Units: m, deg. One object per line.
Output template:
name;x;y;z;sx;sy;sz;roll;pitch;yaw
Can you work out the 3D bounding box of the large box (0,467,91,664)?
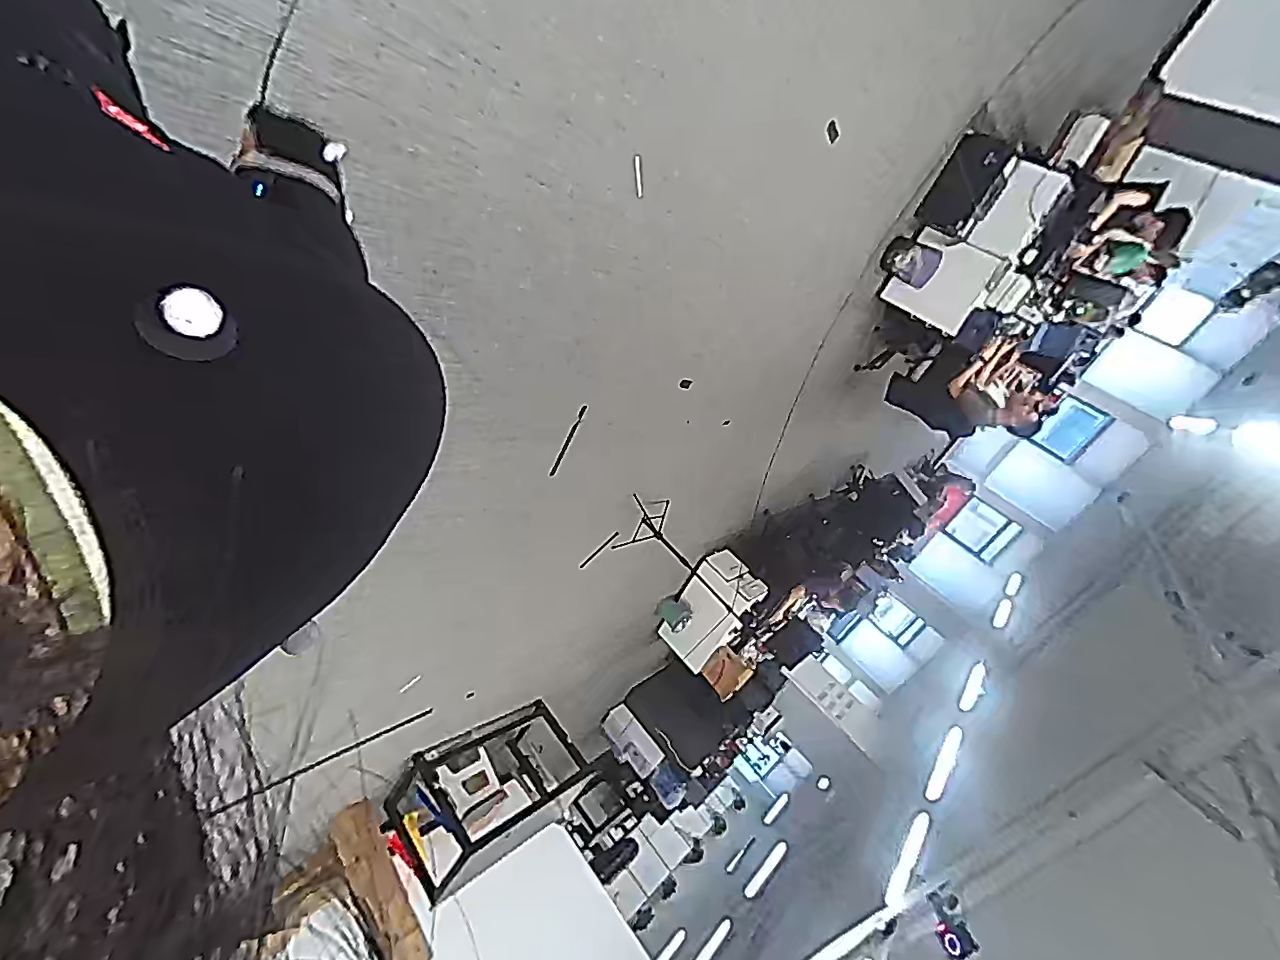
large box;-1.436;0.181;1.087;0.408;0.320;0.320;0;128;-56
